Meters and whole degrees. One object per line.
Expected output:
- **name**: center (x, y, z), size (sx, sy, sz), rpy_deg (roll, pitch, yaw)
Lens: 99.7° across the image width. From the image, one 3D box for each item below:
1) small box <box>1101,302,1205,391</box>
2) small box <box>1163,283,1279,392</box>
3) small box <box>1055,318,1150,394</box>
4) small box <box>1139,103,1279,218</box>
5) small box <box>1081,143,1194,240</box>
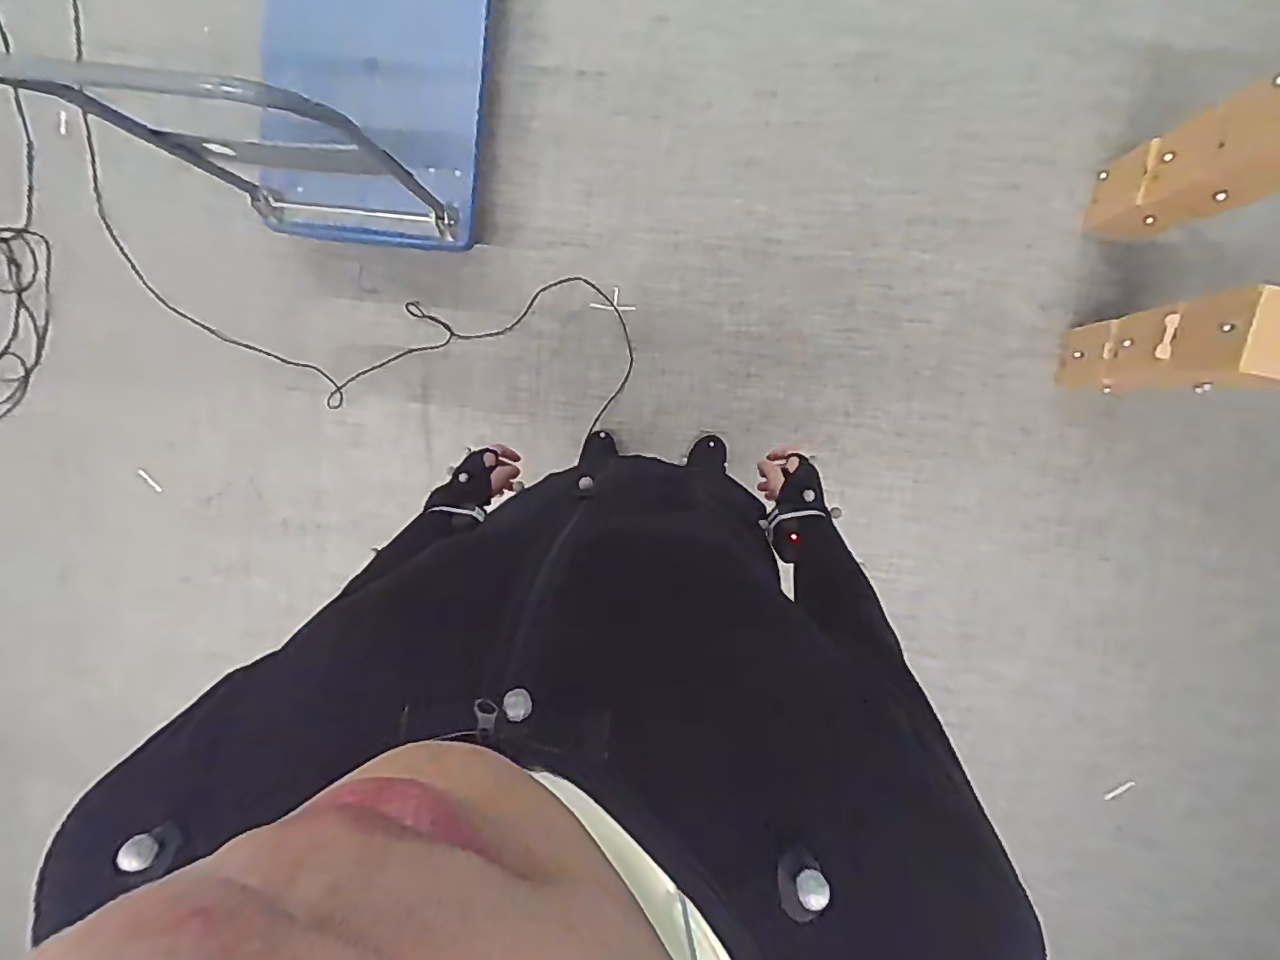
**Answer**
- **small box**: center (1.293, -0.316, 1.314), size (0.179, 0.176, 0.168), rpy_deg (13, 95, 1)
- **small box**: center (1.286, -0.294, 1.152), size (0.168, 0.176, 0.179), rpy_deg (13, 96, 2)
- **small box**: center (1.289, -0.332, 1.478), size (0.179, 0.176, 0.168), rpy_deg (9, 96, 2)
- **small box**: center (1.354, -0.742, 1.275), size (0.179, 0.176, 0.168), rpy_deg (12, 96, 1)
- **small box**: center (1.347, -0.765, 1.453), size (0.179, 0.176, 0.168), rpy_deg (11, 97, 0)
